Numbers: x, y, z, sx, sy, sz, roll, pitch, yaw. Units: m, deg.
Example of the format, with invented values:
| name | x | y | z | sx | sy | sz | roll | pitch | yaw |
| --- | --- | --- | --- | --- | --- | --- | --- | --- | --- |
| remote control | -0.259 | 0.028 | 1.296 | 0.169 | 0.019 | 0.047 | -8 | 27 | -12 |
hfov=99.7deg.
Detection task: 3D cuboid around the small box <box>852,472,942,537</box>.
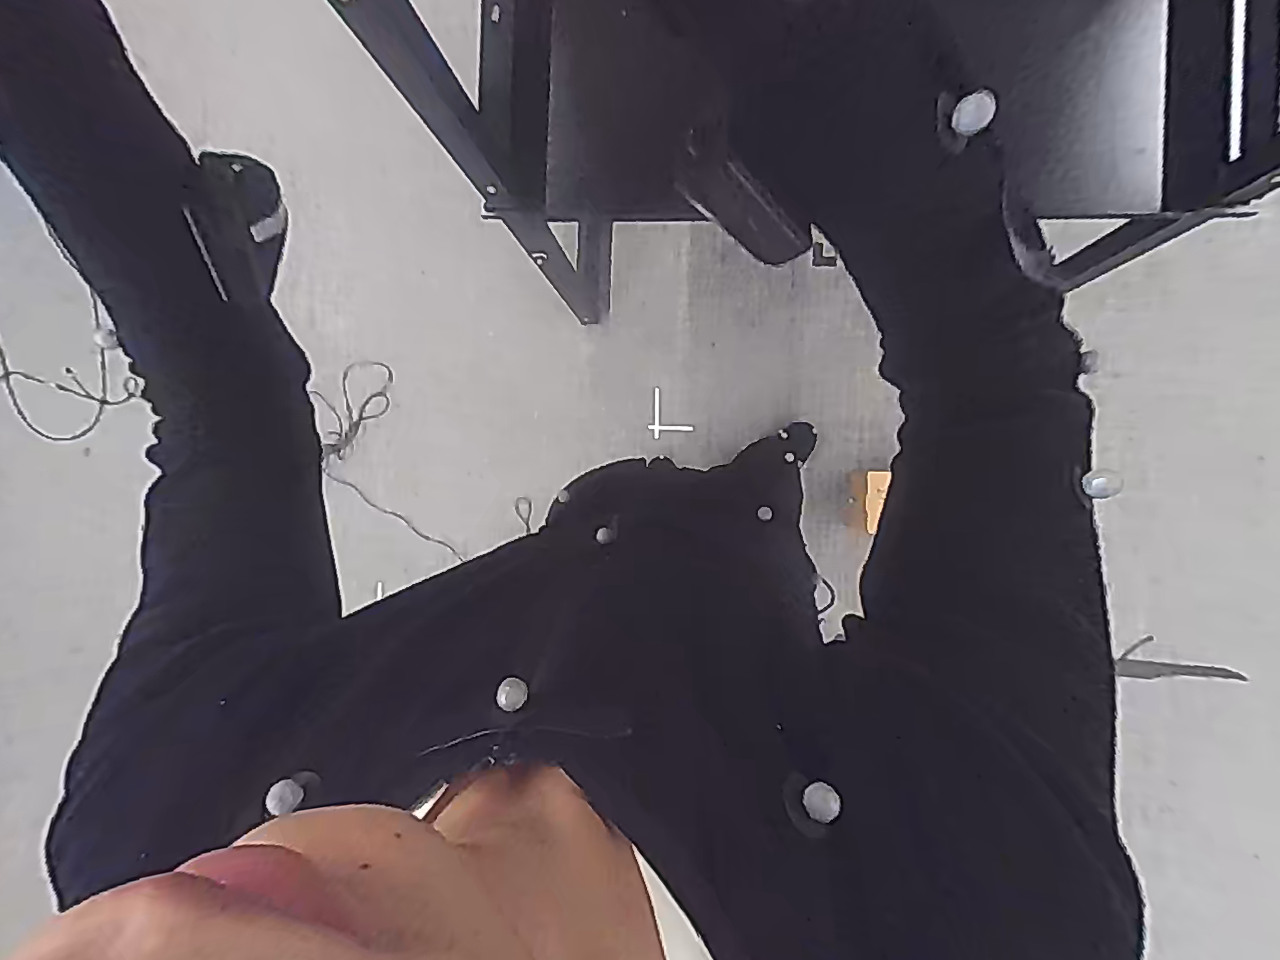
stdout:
| name | x | y | z | sx | sy | sz | roll | pitch | yaw |
| --- | --- | --- | --- | --- | --- | --- | --- | --- | --- |
| small box | 0.694 | 0.062 | 1.473 | 0.179 | 0.176 | 0.168 | 1 | 90 | 7 |
